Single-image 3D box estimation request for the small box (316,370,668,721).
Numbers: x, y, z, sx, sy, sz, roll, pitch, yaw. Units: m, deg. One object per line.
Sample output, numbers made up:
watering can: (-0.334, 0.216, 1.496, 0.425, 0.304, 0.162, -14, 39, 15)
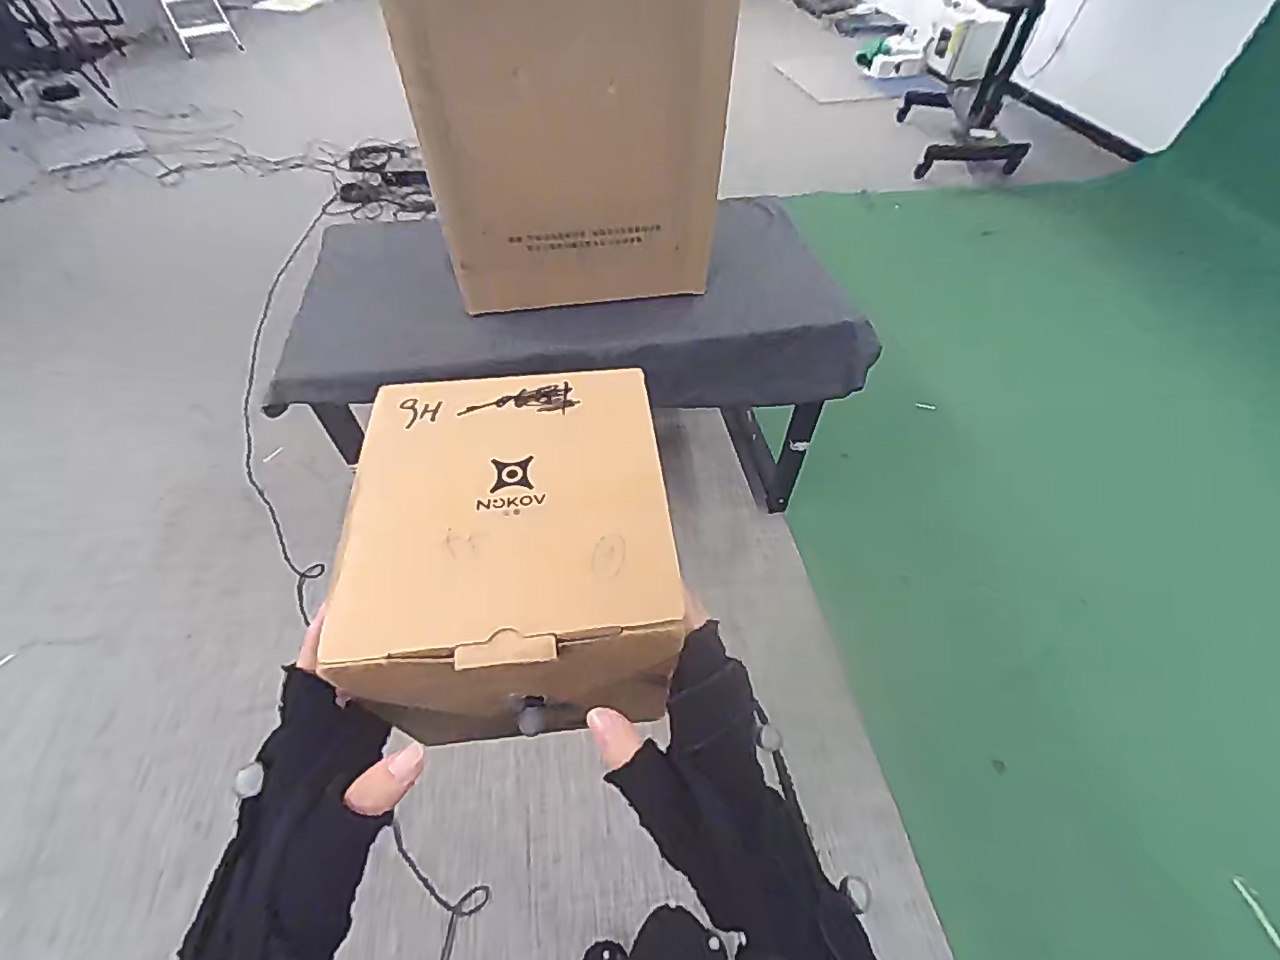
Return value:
small box: (-0.073, 0.051, 0.359, 0.168, 0.176, 0.179, -4, 55, -4)
